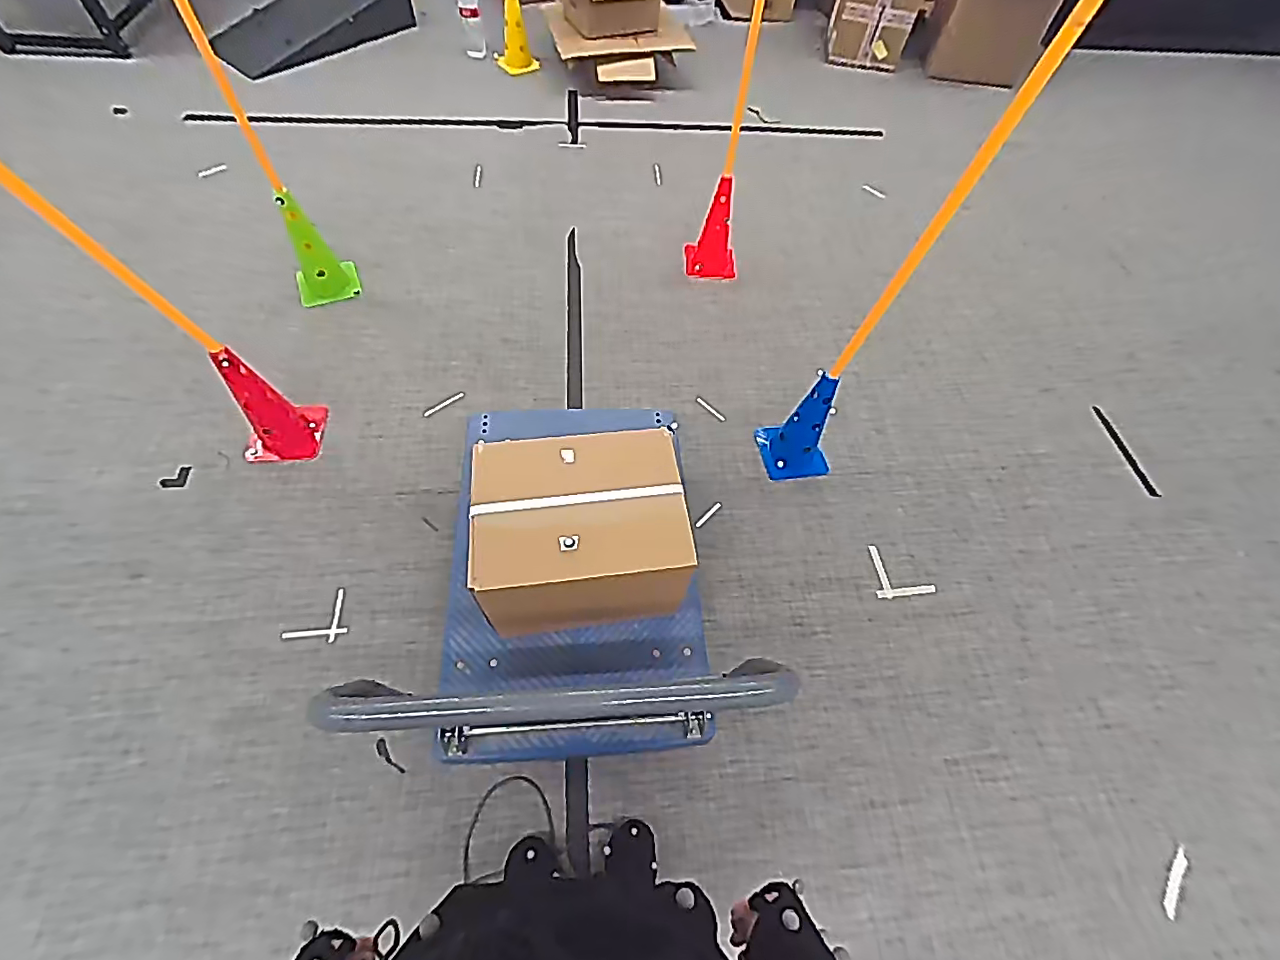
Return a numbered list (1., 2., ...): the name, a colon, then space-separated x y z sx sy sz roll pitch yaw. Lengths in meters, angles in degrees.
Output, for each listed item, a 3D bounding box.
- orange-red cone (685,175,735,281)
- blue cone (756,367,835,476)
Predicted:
1. orange-red cone: 0.294 -0.959 2.023 0.199 0.360 0.198 4 60 -3
2. blue cone: 0.493 -0.183 1.590 0.193 0.380 0.192 -5 59 -8
